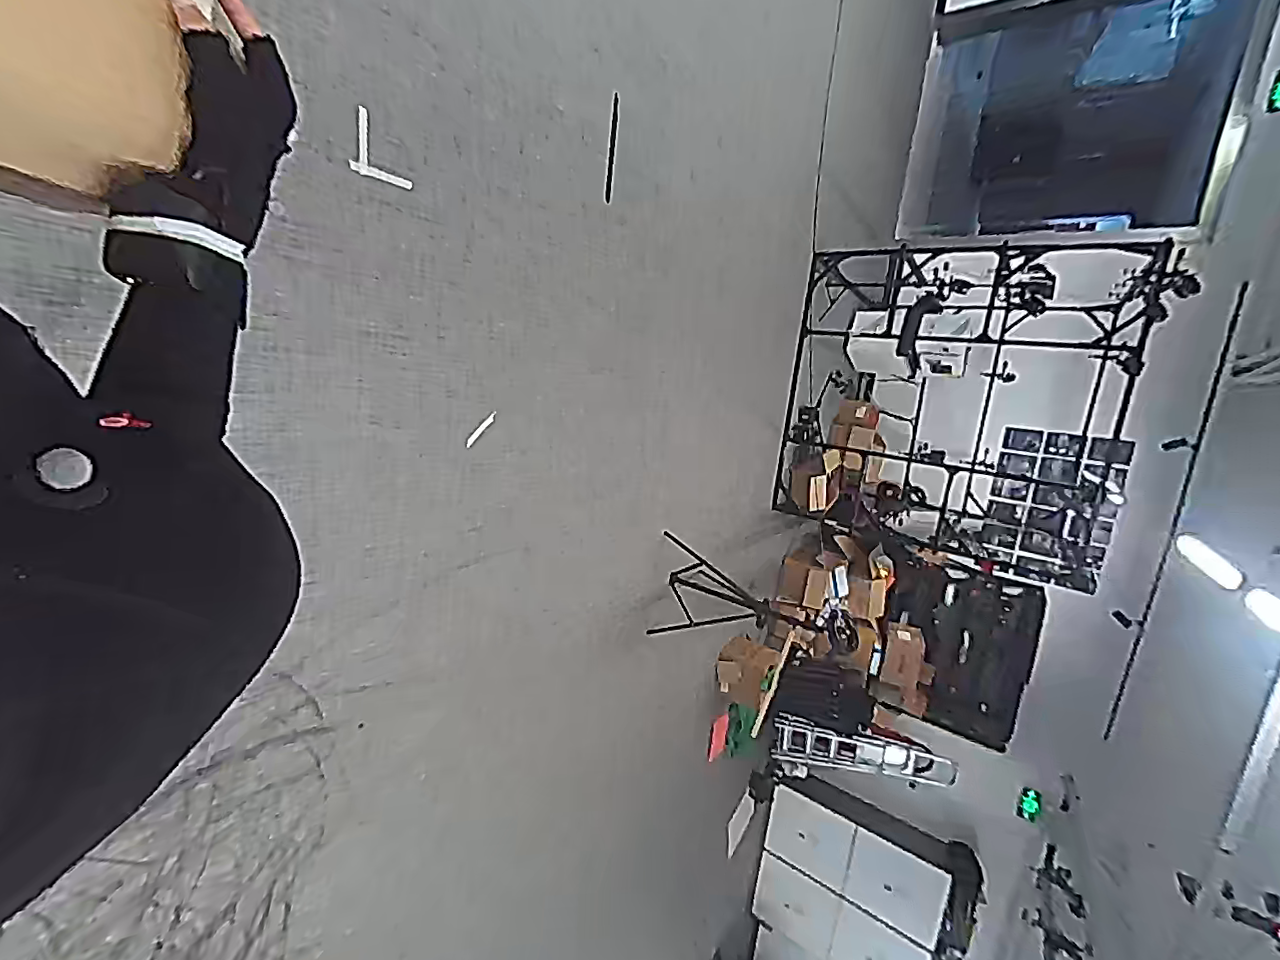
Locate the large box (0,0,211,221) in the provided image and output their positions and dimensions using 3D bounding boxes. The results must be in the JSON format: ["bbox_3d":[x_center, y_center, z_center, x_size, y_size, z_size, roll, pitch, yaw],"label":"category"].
[{"bbox_3d":[-0.553,-0.395,0.315,0.408,0.320,0.320,4,104,-59],"label":"large box"}]
